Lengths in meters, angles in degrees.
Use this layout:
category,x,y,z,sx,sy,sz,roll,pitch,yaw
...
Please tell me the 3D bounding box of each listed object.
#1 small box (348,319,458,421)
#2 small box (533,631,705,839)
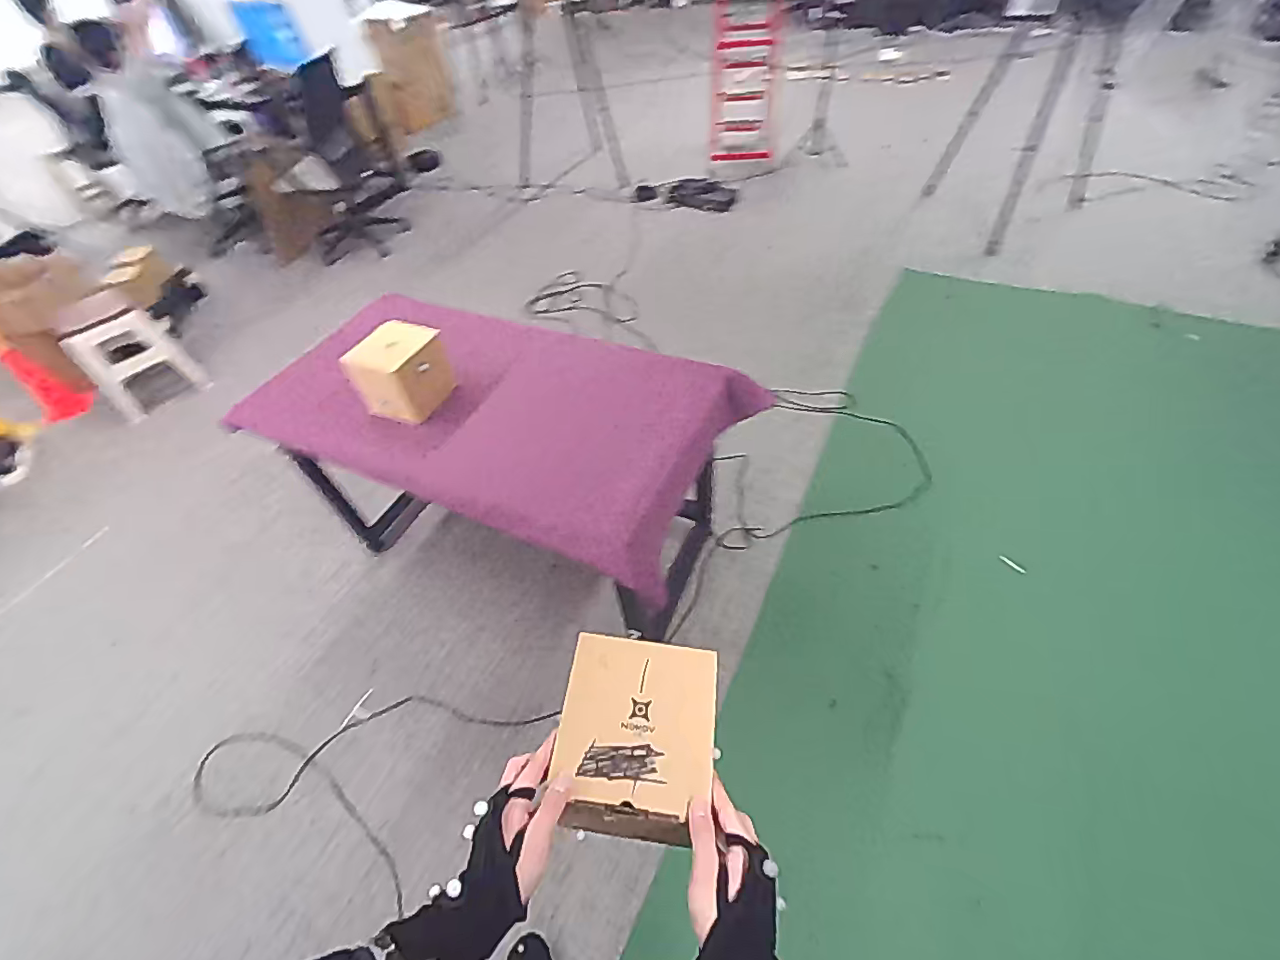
category,x,y,z,sx,sy,sz,roll,pitch,yaw
small box,-0.592,-0.282,1.384,0.168,0.176,0.179,17,54,19
small box,-0.017,0.304,0.638,0.168,0.176,0.179,6,48,3
